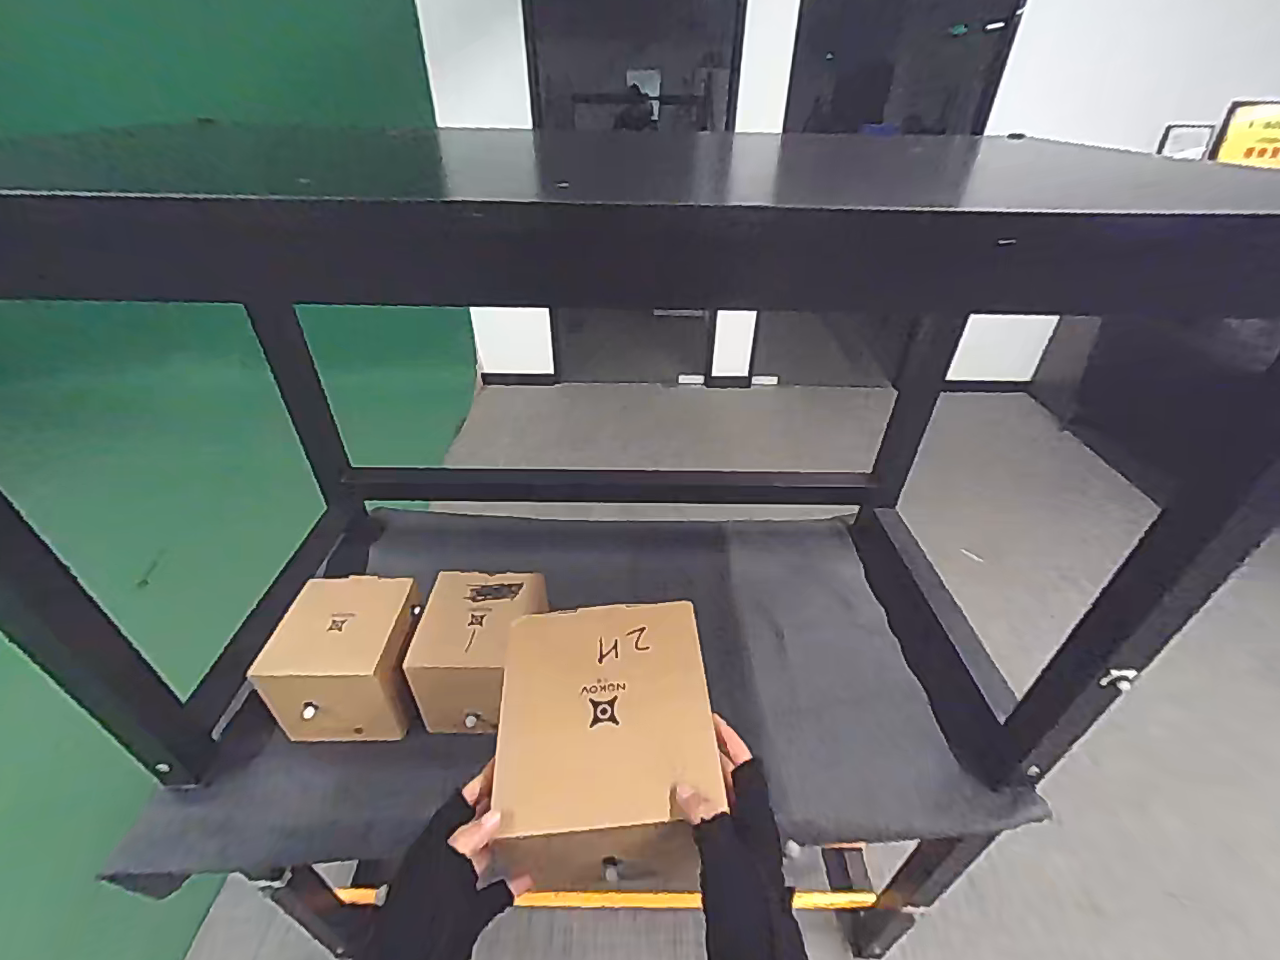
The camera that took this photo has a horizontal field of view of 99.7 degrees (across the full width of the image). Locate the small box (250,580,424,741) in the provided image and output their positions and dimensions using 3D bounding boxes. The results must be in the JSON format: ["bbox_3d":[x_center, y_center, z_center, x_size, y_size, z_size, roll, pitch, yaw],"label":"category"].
[{"bbox_3d":[-0.426,0.271,0.813,0.168,0.176,0.179,1,35,-1],"label":"small box"}]

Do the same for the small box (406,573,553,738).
[{"bbox_3d":[-0.229,0.264,0.826,0.168,0.176,0.179,0,36,0],"label":"small box"}]
